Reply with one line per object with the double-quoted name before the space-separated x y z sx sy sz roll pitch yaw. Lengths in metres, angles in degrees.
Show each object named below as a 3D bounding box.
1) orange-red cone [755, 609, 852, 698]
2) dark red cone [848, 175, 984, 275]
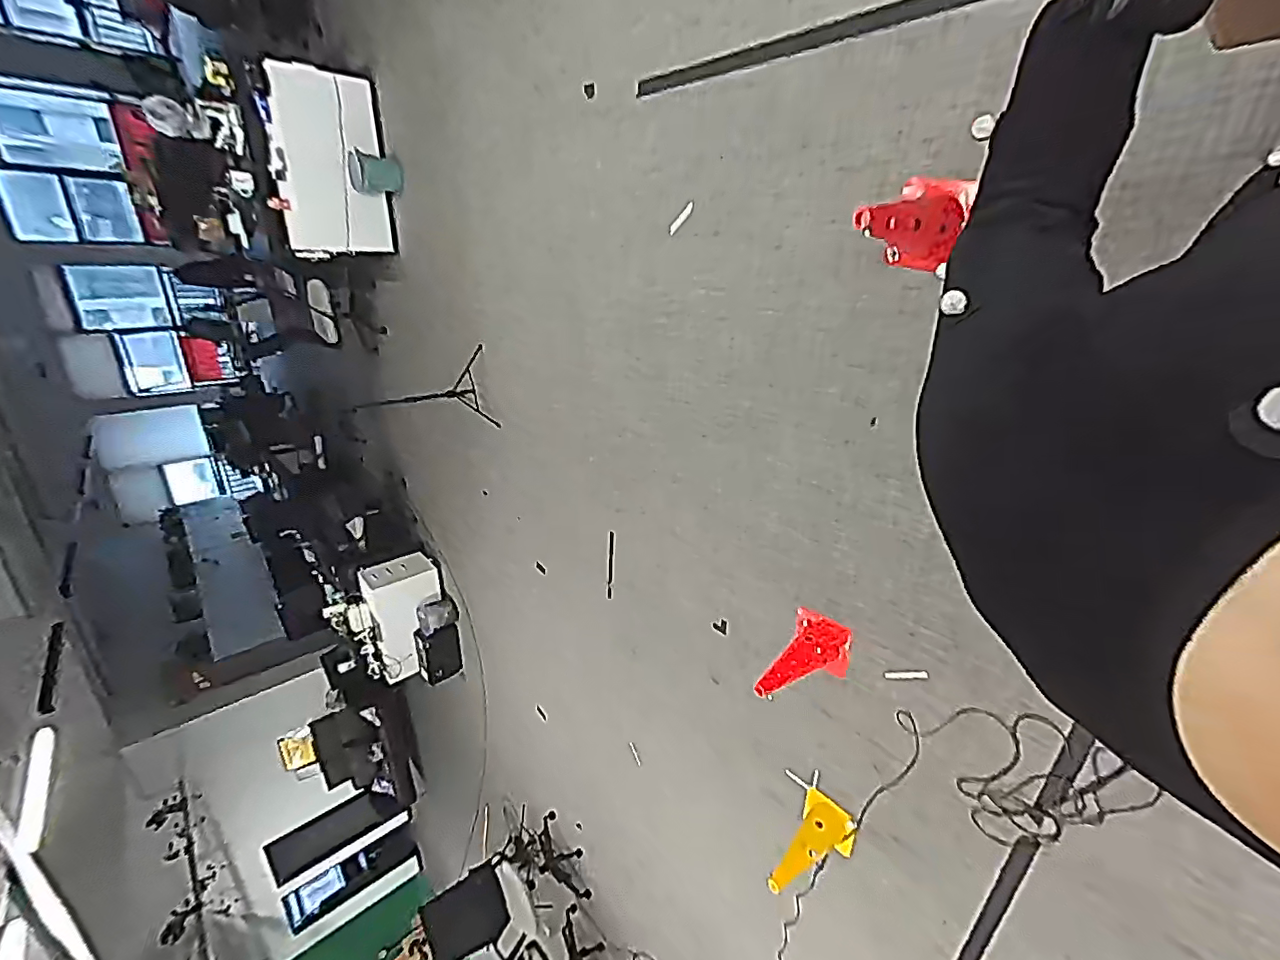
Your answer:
"orange-red cone" 0.498 0.602 1.748 0.198 0.360 0.199 23 122 45
"dark red cone" 0.563 -0.566 1.178 0.201 0.394 0.202 31 126 39
